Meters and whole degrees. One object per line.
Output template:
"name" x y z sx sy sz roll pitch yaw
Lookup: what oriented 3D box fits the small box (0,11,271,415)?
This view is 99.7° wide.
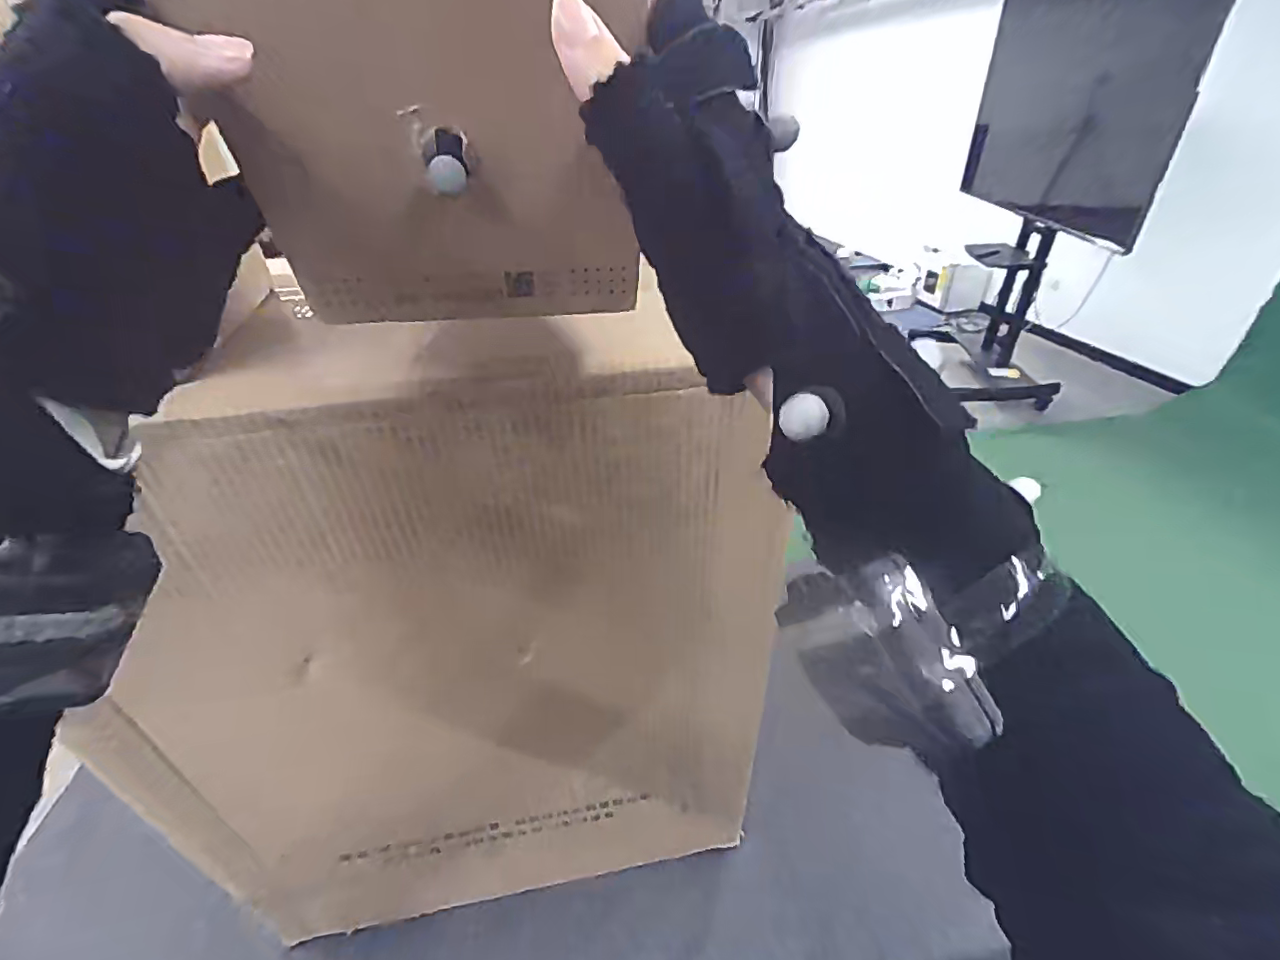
"small box" -0.346 -0.143 0.303 0.168 0.176 0.179 -9 35 -11

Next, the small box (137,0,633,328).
"small box" -0.092 -0.193 0.278 0.168 0.176 0.179 -4 53 -6
